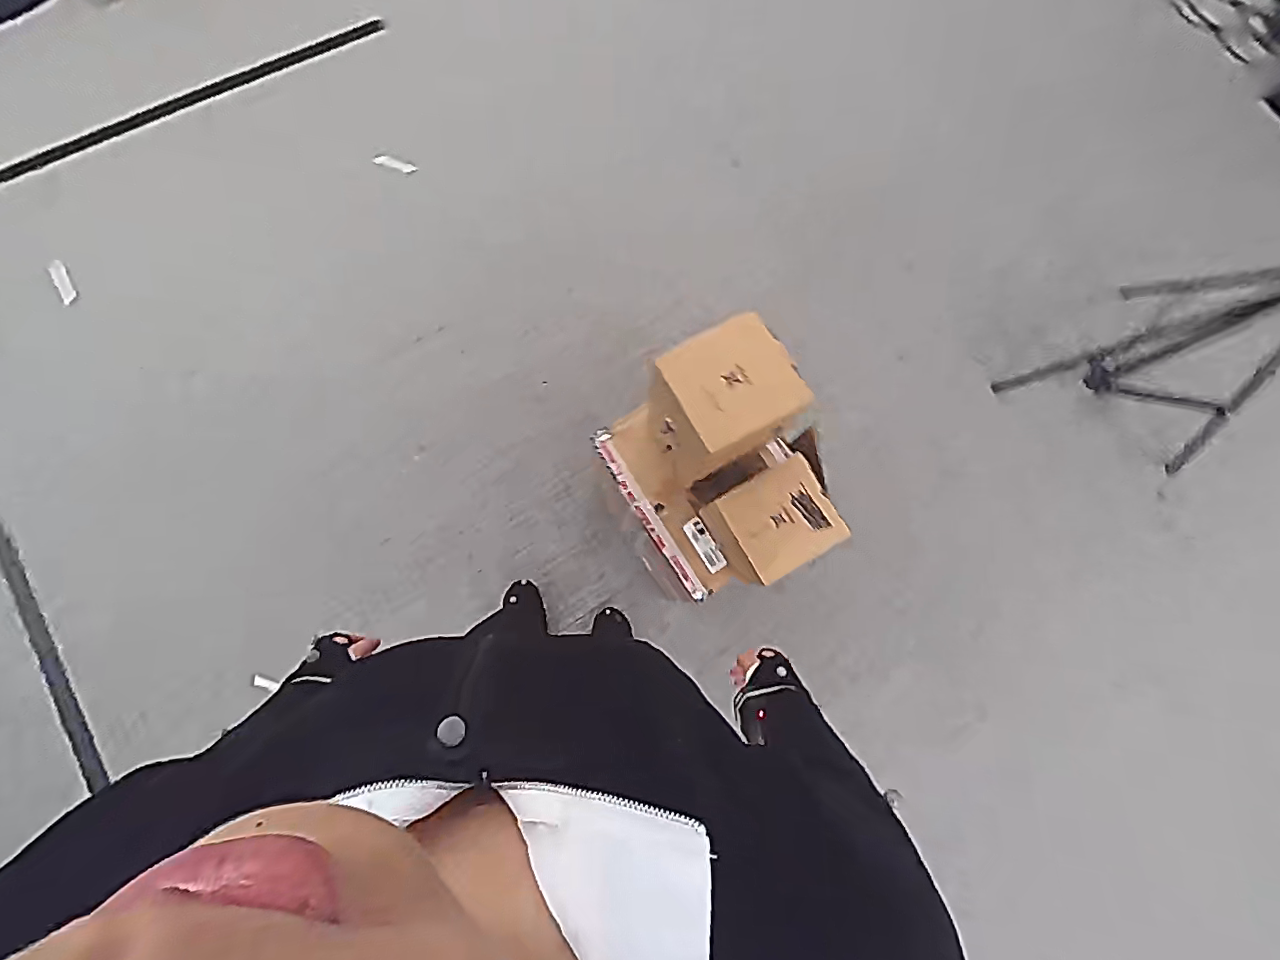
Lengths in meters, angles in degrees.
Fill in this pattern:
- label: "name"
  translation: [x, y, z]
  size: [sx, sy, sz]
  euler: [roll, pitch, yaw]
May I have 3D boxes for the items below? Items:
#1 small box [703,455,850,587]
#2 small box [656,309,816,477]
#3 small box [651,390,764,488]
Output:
- label: "small box"
  translation: [0.234, 0.077, 0.976]
  size: [0.179, 0.176, 0.168]
  euler: [-29, 83, -7]
- label: "small box"
  translation: [0.136, -0.126, 0.844]
  size: [0.179, 0.176, 0.168]
  euler: [-28, 79, -6]
- label: "small box"
  translation: [0.133, -0.103, 1.006]
  size: [0.179, 0.176, 0.168]
  euler: [-28, 80, -6]
